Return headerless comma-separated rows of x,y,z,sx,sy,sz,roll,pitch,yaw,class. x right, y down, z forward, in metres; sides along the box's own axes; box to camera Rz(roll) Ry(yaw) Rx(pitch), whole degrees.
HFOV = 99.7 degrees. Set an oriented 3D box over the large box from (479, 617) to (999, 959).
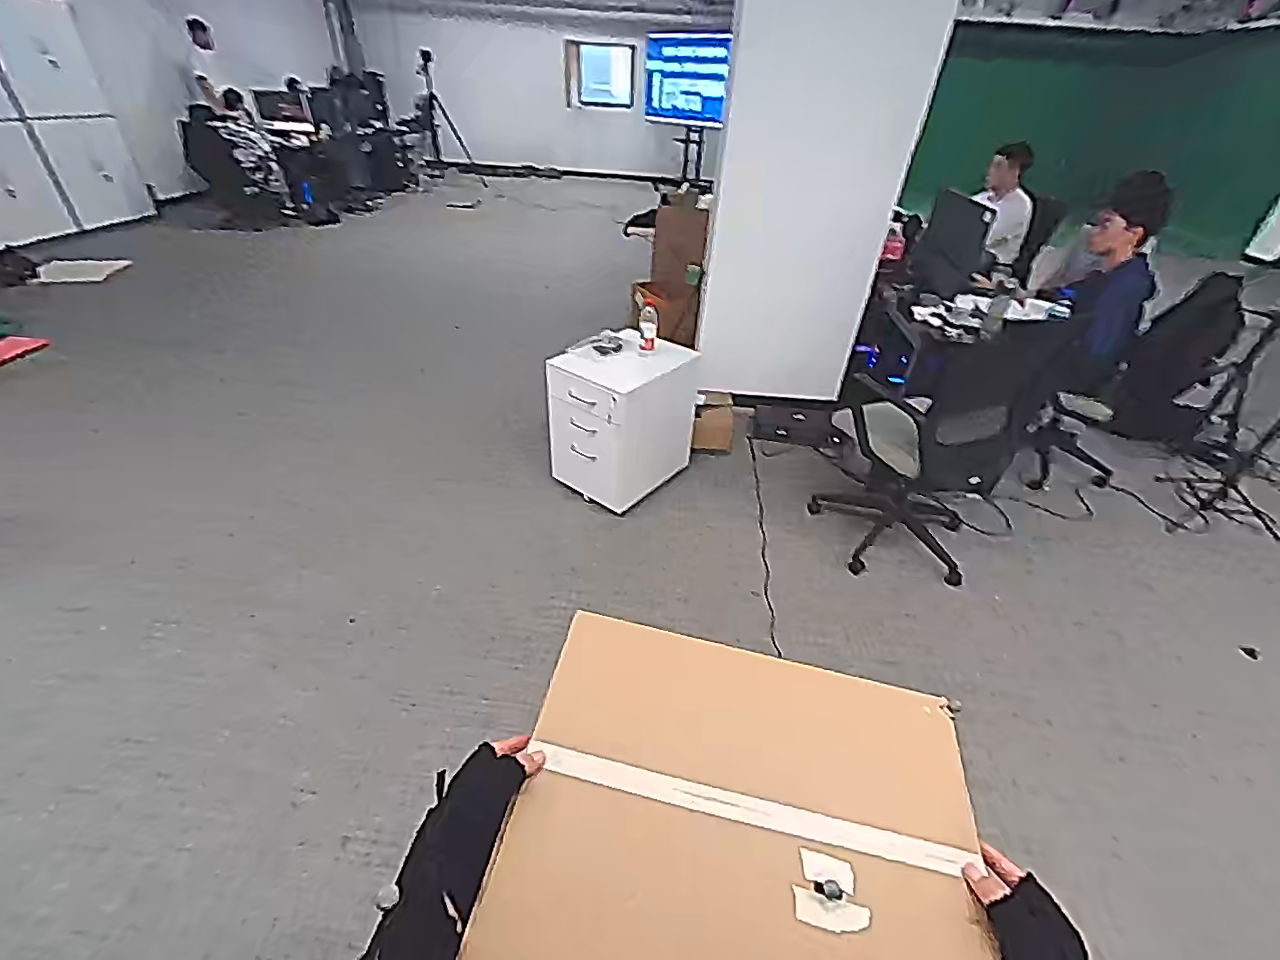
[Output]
0.083,0.401,0.587,0.408,0.320,0.320,13,43,4,large box
